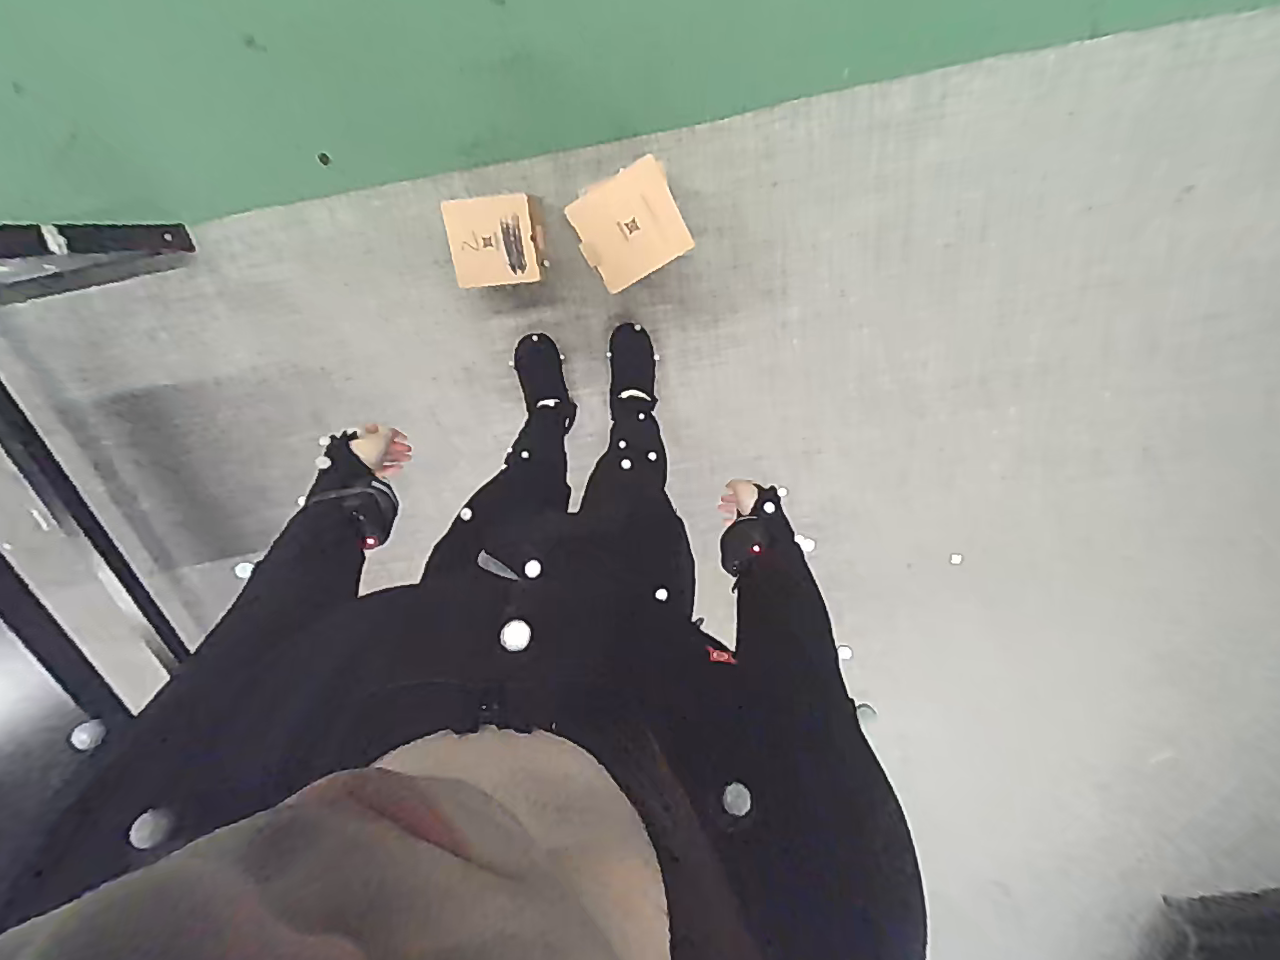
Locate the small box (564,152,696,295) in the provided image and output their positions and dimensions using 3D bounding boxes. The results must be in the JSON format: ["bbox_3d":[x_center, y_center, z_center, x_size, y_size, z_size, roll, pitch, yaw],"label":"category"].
[{"bbox_3d":[-0.017,-0.466,0.991,0.179,0.176,0.168,-28,115,11],"label":"small box"}]
